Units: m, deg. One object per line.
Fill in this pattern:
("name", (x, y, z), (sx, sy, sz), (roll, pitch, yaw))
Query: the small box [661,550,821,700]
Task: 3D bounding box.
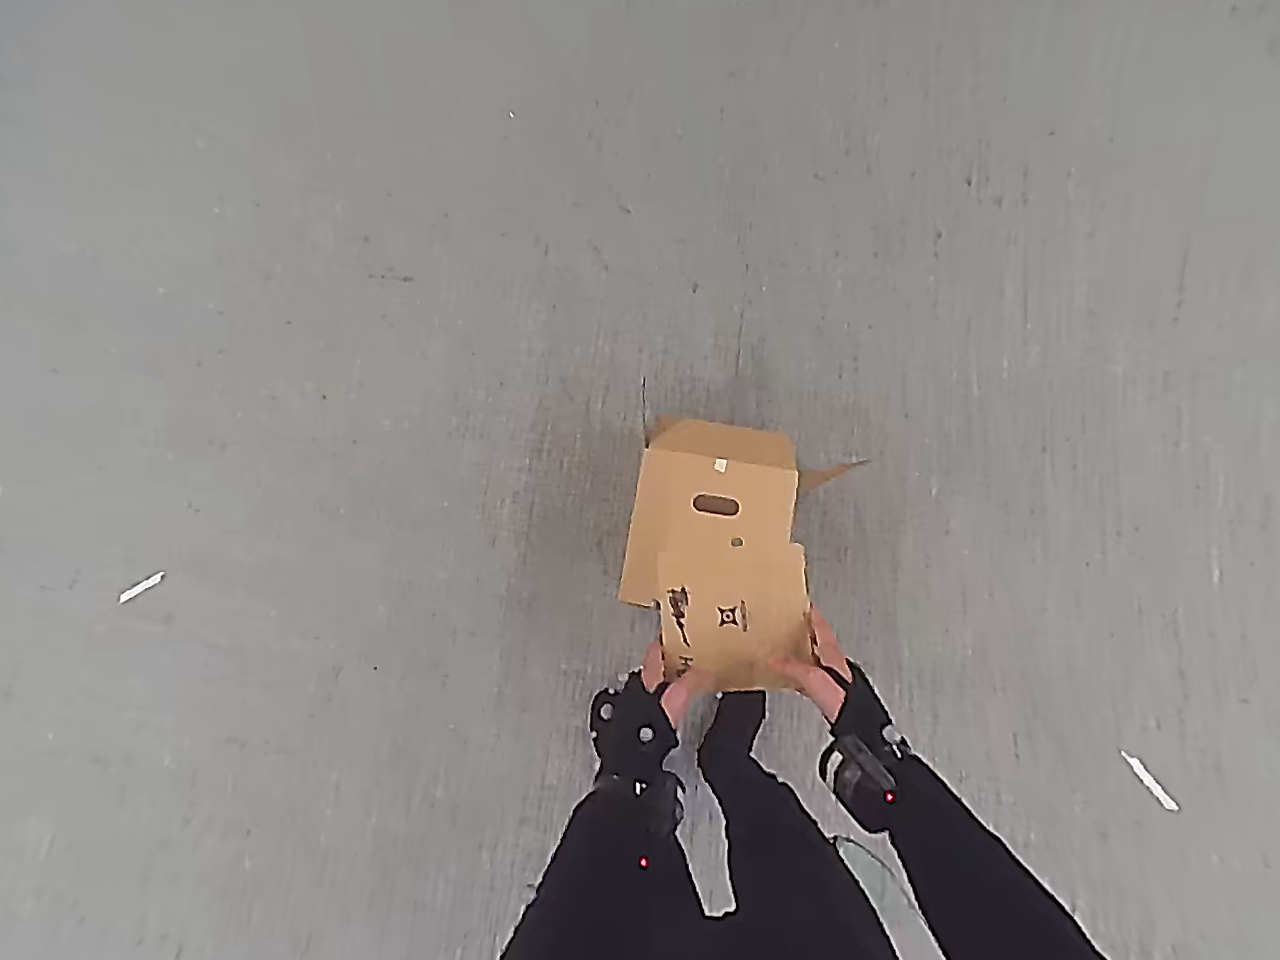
("small box", (0.117, 0.176, 0.700), (0.179, 0.176, 0.168), (-4, 81, 3))
